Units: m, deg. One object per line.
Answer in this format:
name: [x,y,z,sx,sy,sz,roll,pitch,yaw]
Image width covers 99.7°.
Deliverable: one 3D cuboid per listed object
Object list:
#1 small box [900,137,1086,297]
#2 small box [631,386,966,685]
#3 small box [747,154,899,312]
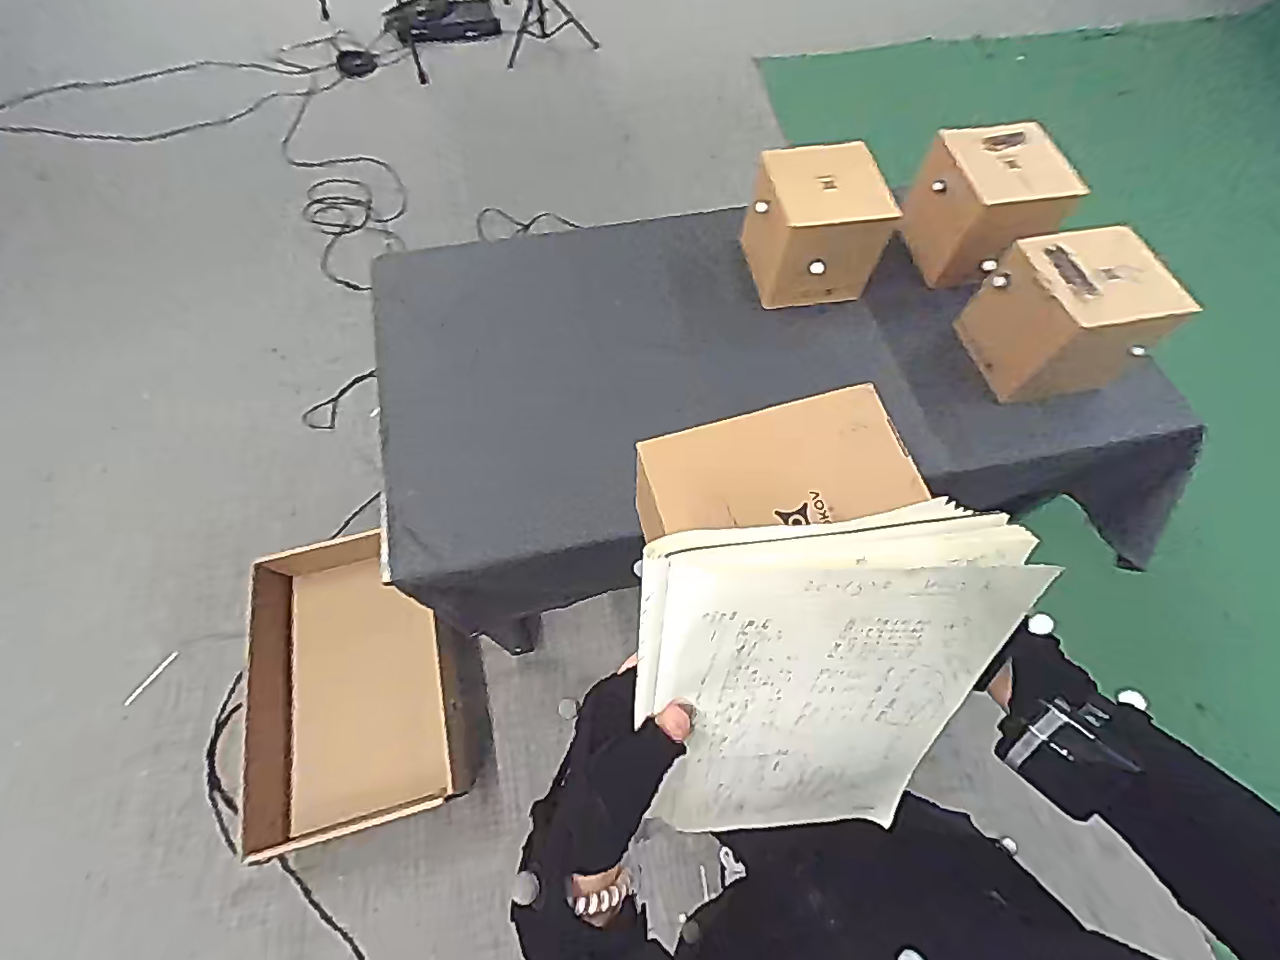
small box: [0.570,-0.435,0.904,0.168,0.176,0.179,-8,64,-4]
small box: [0.096,0.053,0.423,0.179,0.176,0.168,-14,69,-7]
small box: [0.284,-0.392,0.882,0.168,0.176,0.179,-7,63,-4]
